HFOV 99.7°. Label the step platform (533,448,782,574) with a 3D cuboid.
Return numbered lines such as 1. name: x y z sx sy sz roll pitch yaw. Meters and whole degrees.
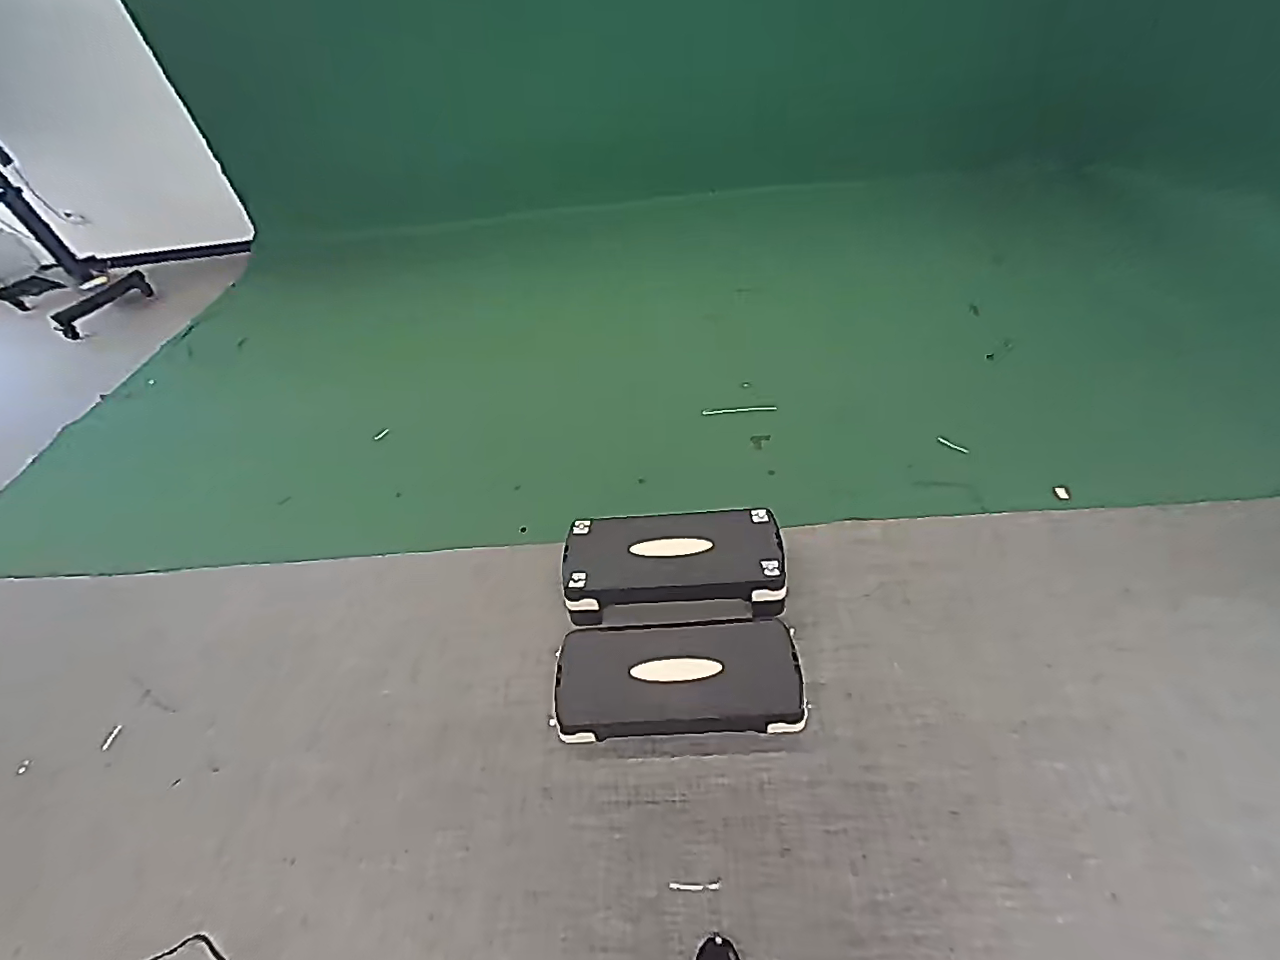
1. step platform: 0.051 0.092 1.563 0.684 0.204 0.286 -5 47 4
